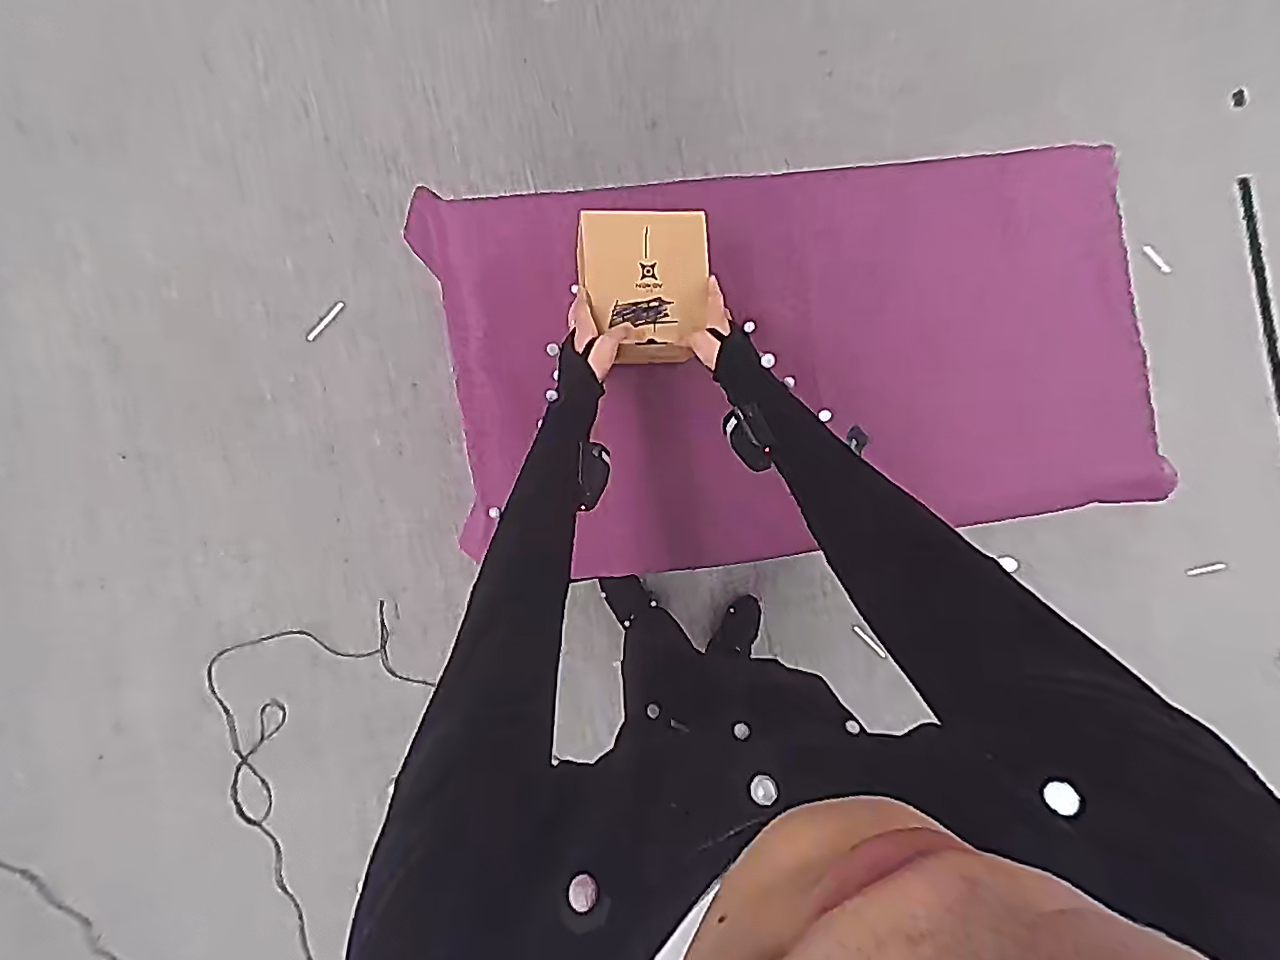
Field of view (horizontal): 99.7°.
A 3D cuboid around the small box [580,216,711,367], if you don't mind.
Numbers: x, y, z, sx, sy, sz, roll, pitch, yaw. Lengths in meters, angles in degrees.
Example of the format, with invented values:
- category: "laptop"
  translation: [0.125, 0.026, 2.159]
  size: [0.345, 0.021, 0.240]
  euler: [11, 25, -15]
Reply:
- category: "small box"
  translation: [0.001, -0.260, 0.785]
  size: [0.168, 0.176, 0.179]
  euler: [-4, 94, -9]
